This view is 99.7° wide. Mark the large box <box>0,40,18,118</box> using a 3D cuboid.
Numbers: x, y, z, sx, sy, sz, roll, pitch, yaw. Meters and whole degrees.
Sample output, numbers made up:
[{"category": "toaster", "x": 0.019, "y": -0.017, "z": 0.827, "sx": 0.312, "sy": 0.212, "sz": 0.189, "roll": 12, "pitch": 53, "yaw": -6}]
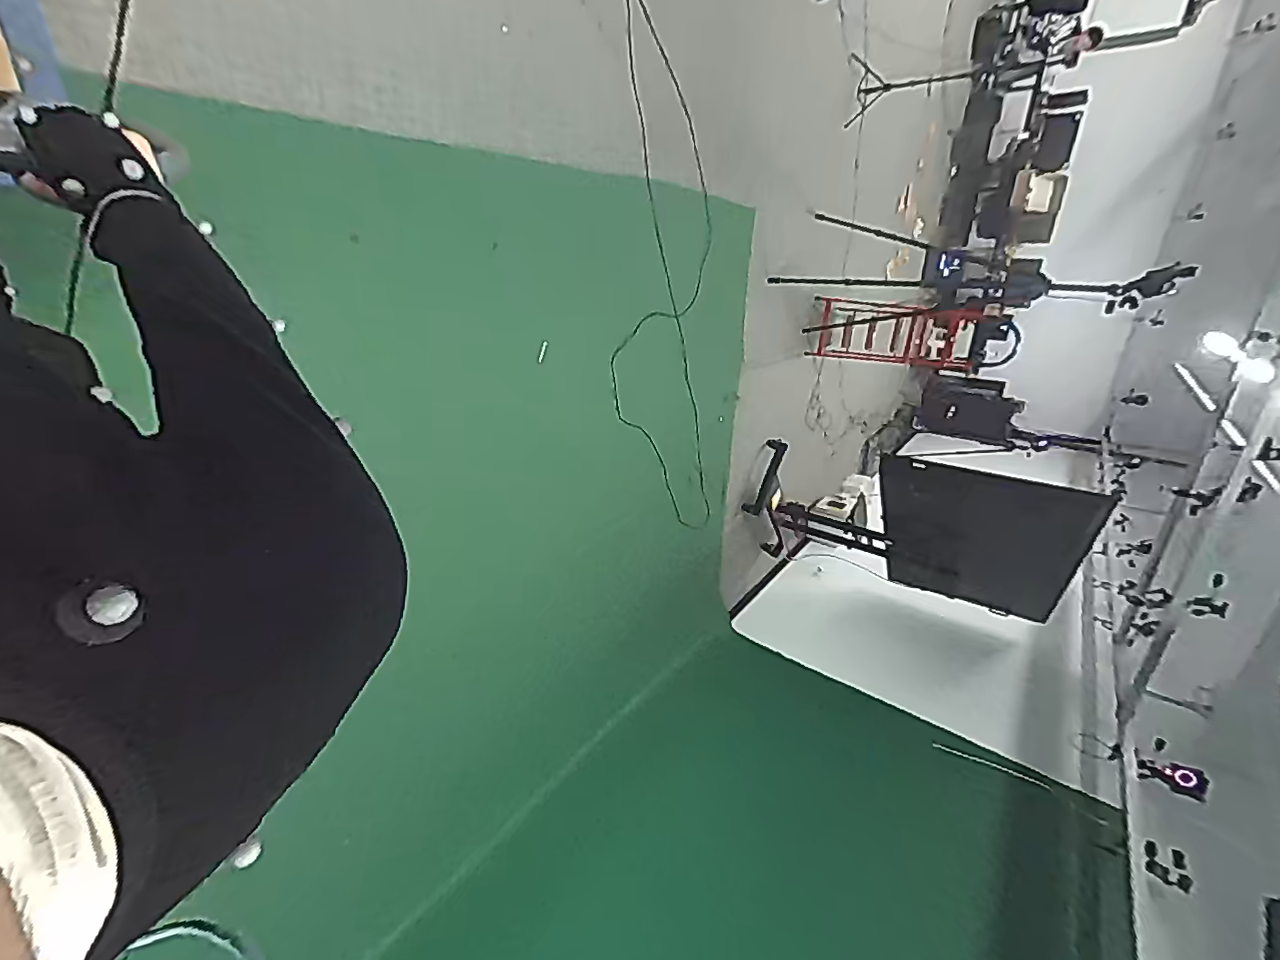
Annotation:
[{"category": "large box", "x": -1.055, "y": -0.680, "z": 0.628, "sx": 0.320, "sy": 0.320, "sz": 0.408, "roll": -29, "pitch": 125, "yaw": -47}]
